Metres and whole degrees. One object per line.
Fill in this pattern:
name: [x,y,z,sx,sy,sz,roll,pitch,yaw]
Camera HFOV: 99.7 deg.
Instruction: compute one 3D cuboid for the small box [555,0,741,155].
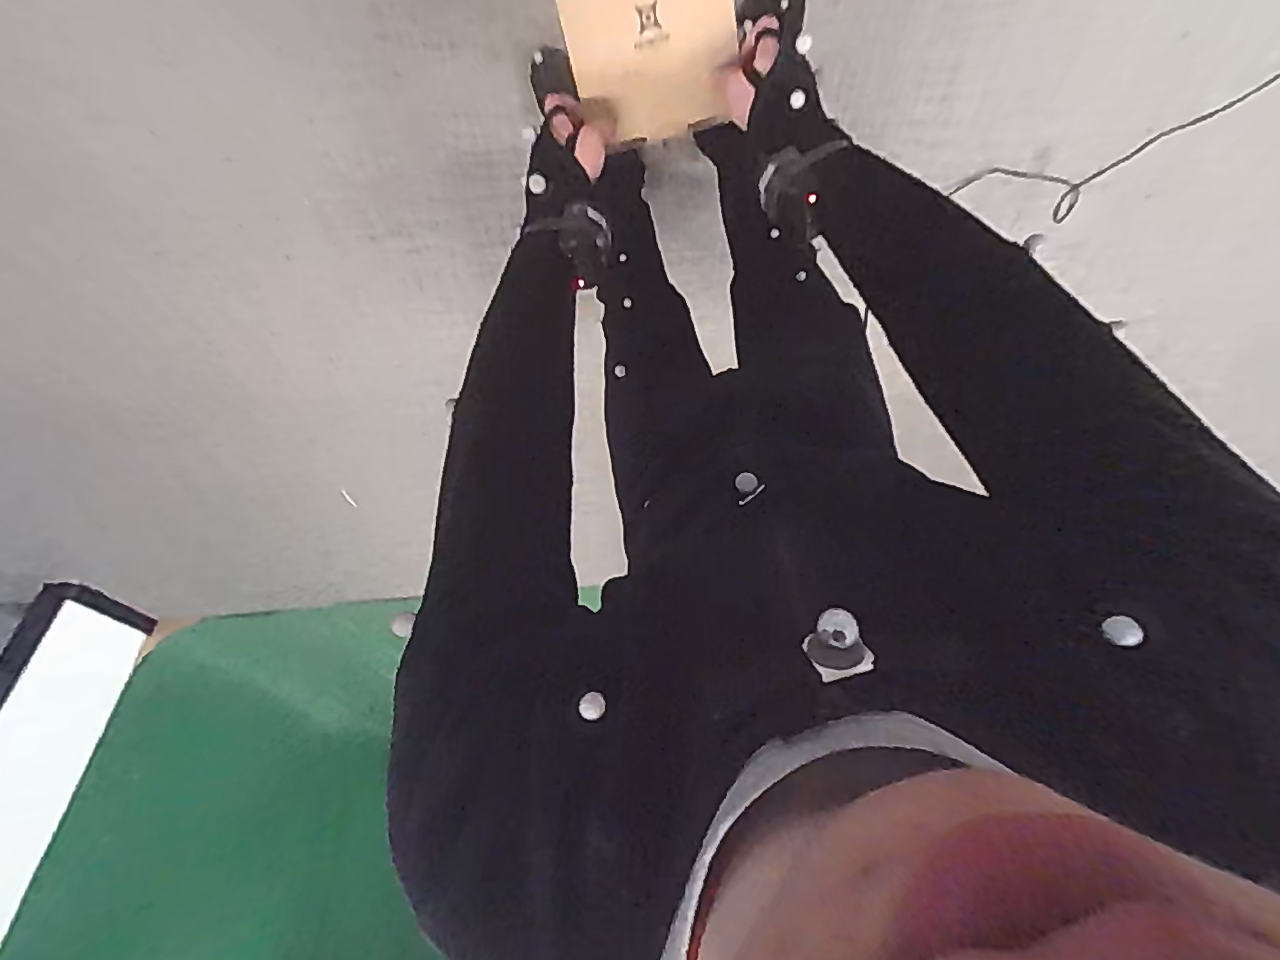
small box: [0.015,-0.475,0.585,0.168,0.176,0.179,-9,121,11]
